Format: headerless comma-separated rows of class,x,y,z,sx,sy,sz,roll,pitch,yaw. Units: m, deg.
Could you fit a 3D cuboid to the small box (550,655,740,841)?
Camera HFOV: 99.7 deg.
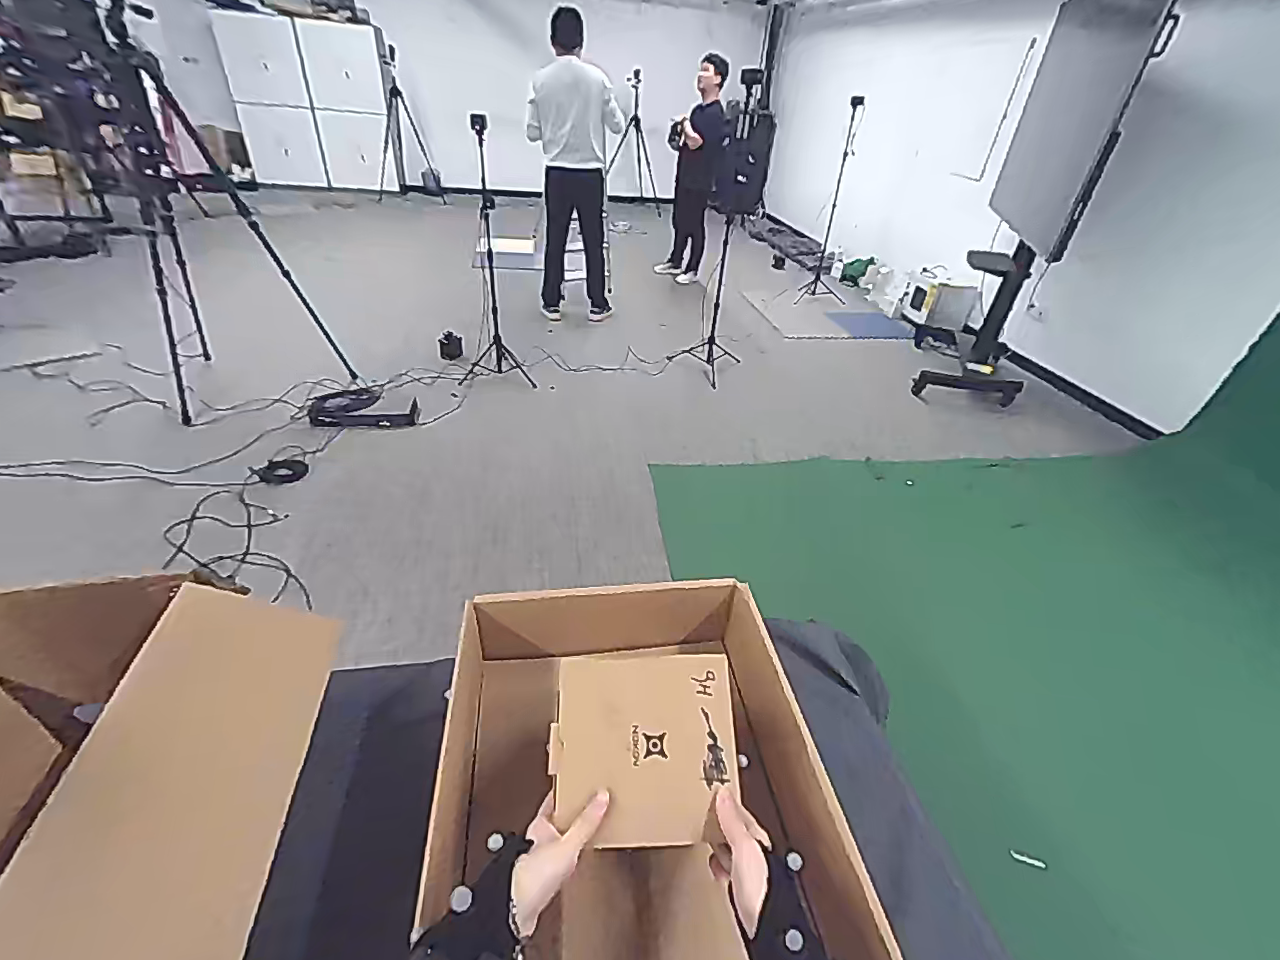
small box,0.002,0.291,0.596,0.179,0.176,0.168,0,64,-3
